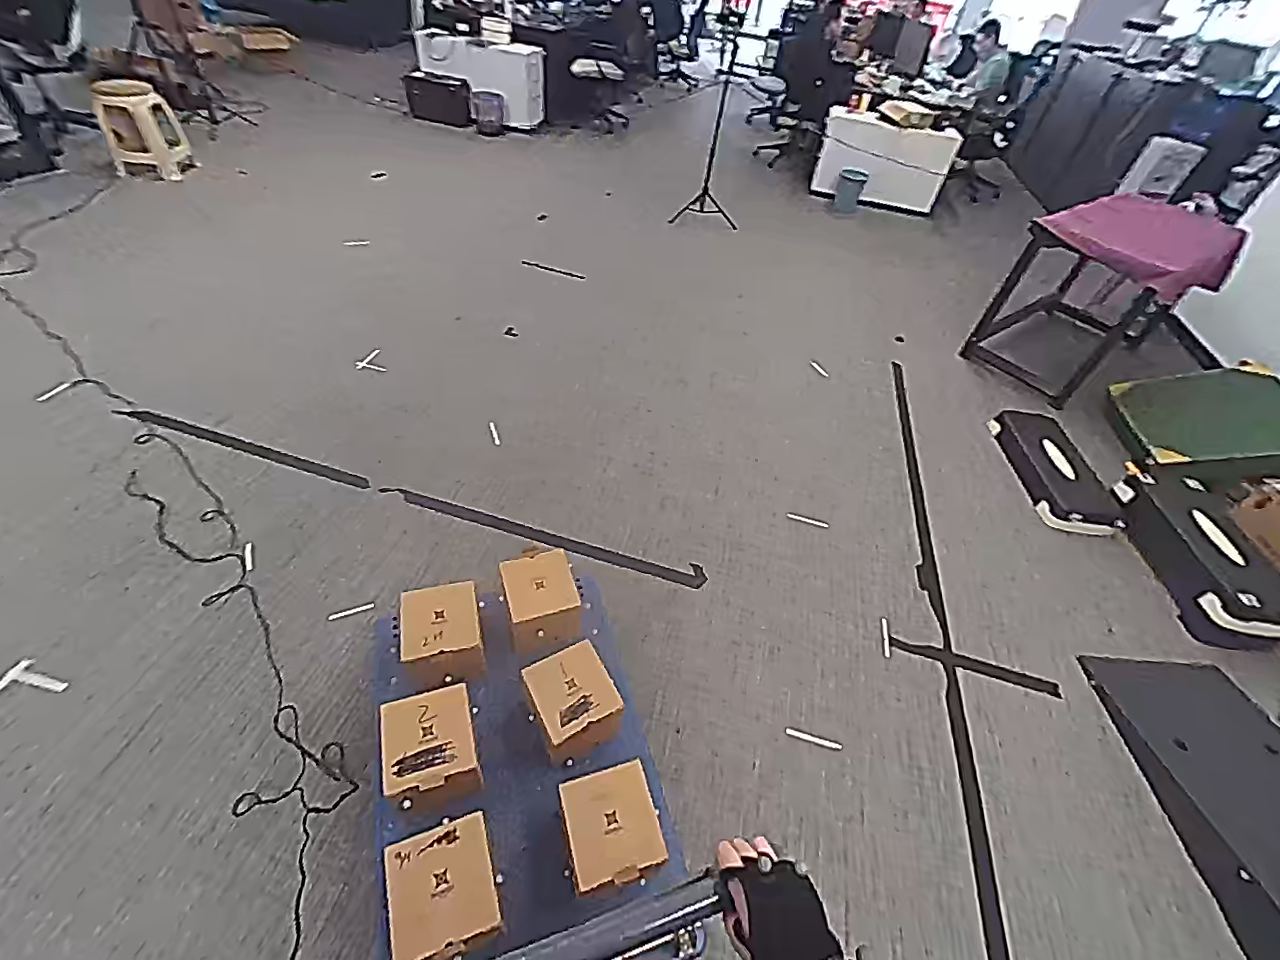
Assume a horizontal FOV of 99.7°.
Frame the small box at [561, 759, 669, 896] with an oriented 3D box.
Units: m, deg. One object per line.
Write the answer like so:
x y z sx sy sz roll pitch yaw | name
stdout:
-0.055 0.680 1.053 0.168 0.176 0.179 -9 48 -18 | small box

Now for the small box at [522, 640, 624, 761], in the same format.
-0.151 0.498 1.209 0.168 0.176 0.179 -20 52 -25 | small box

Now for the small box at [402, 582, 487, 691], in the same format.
-0.460 0.370 1.280 0.168 0.176 0.179 -8 49 -16 | small box

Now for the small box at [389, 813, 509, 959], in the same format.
-0.334 0.730 0.958 0.168 0.176 0.179 -12 50 -21 | small box

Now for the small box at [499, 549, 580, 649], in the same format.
-0.255 0.308 1.375 0.168 0.176 0.179 -12 50 -19 | small box
